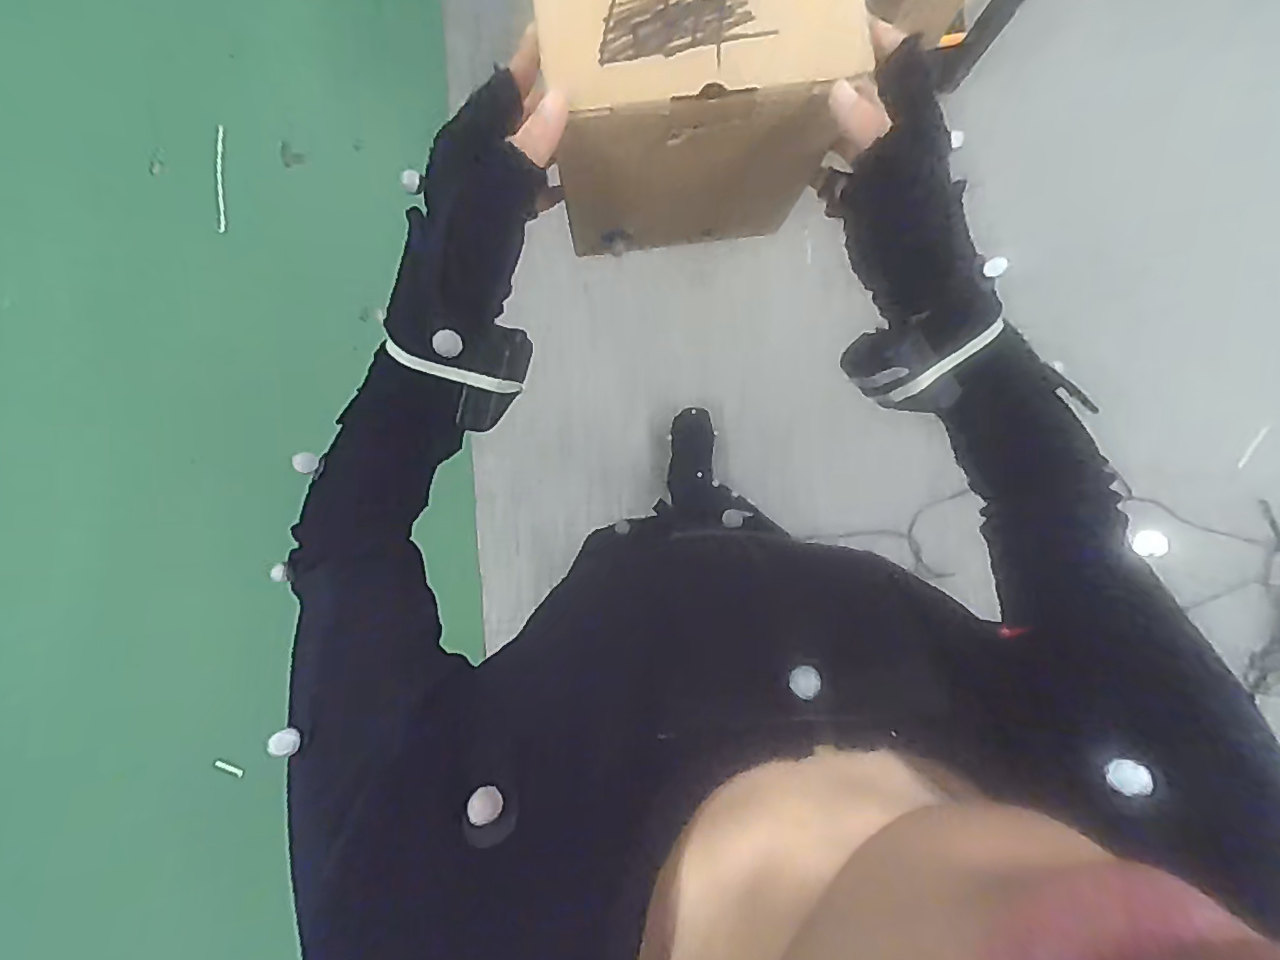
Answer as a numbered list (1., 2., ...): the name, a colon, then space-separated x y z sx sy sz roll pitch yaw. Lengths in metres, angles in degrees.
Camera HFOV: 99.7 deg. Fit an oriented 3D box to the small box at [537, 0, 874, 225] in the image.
1. small box: 0.023 -0.285 0.346 0.168 0.176 0.179 -7 88 -3
